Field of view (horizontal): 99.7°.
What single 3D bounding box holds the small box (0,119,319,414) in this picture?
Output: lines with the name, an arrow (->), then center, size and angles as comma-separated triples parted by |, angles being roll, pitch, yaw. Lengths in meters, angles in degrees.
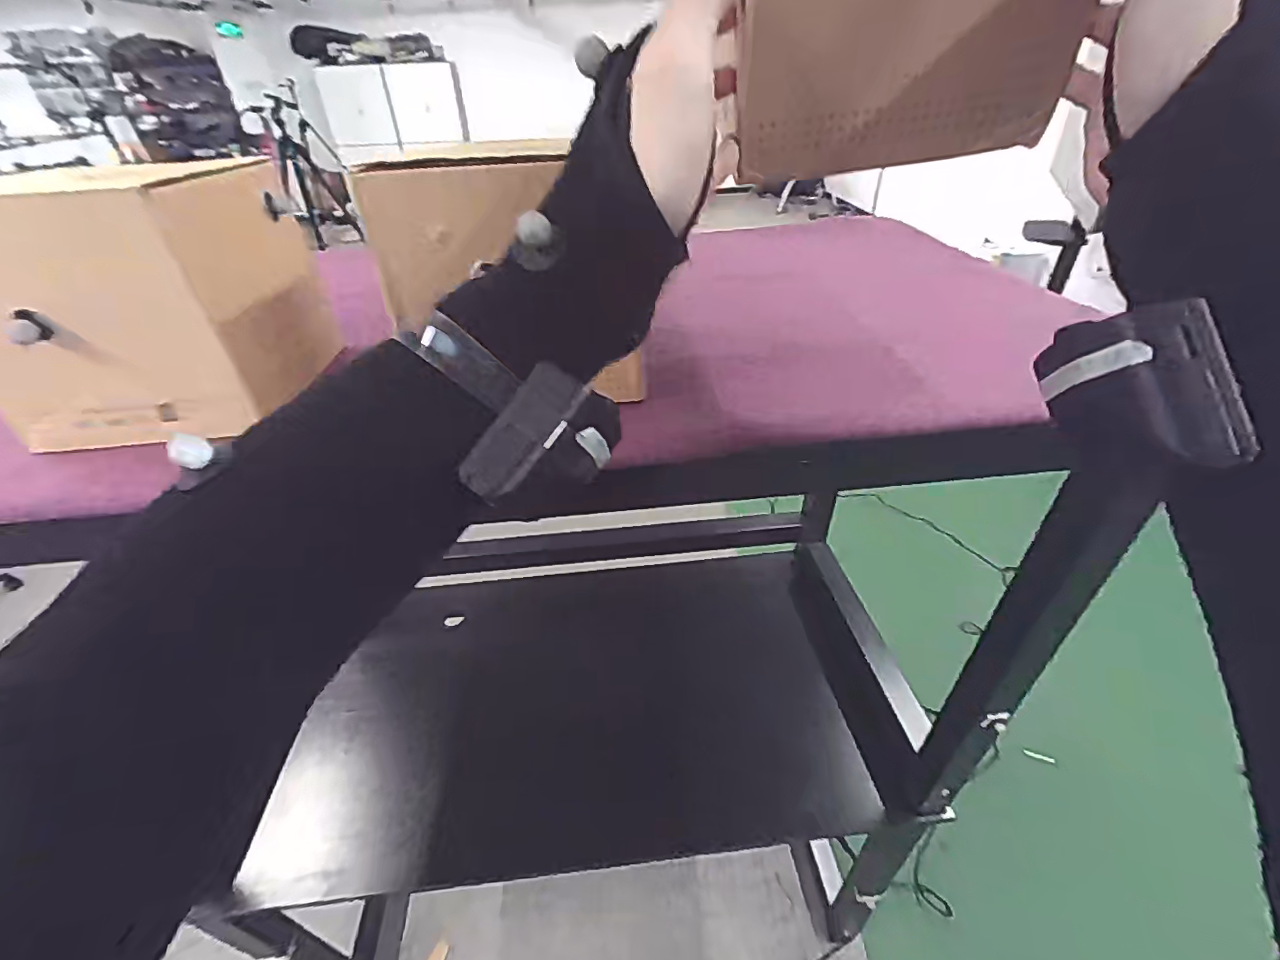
small box -> -0.372, -0.157, 0.398 | 0.168, 0.176, 0.179 | -4, 36, -4

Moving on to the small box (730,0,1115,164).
small box -> 0.139, -0.290, 0.289 | 0.179, 0.176, 0.168 | -2, 50, 6
